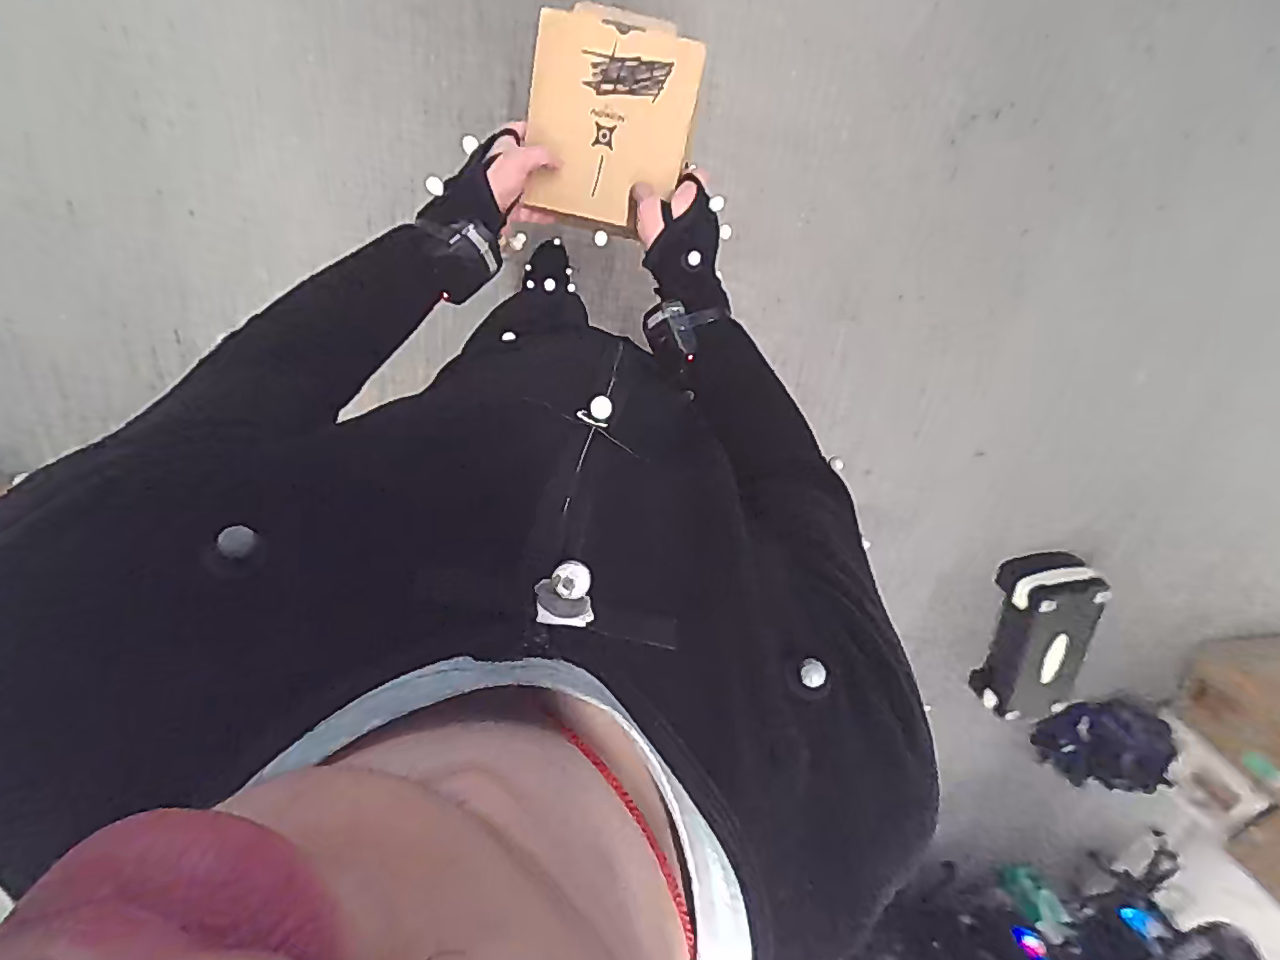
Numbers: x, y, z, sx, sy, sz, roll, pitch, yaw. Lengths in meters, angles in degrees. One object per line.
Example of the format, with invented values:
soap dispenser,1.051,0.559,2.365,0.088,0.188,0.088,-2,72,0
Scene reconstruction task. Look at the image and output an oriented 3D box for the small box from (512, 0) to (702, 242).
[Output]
small box,-0.031,-0.385,0.615,0.168,0.176,0.179,13,110,2
